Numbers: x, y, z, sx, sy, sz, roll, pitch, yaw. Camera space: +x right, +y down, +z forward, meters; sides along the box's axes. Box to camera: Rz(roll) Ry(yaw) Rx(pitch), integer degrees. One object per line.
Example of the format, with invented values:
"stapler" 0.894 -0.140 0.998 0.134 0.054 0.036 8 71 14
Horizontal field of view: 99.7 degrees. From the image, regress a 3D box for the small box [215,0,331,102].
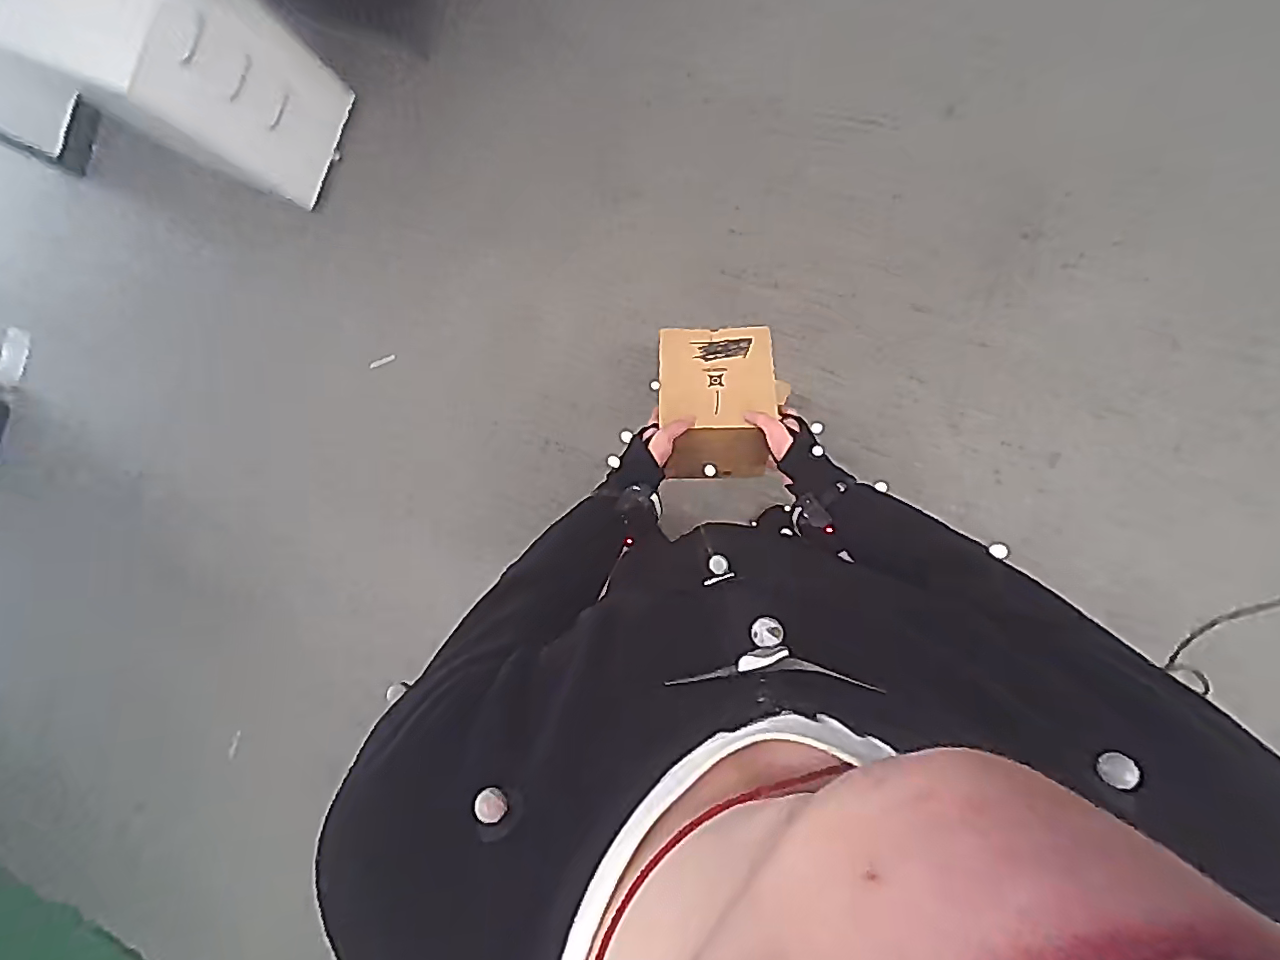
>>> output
"small box" -1.019 -1.191 1.519 0.179 0.176 0.168 -25 34 6
